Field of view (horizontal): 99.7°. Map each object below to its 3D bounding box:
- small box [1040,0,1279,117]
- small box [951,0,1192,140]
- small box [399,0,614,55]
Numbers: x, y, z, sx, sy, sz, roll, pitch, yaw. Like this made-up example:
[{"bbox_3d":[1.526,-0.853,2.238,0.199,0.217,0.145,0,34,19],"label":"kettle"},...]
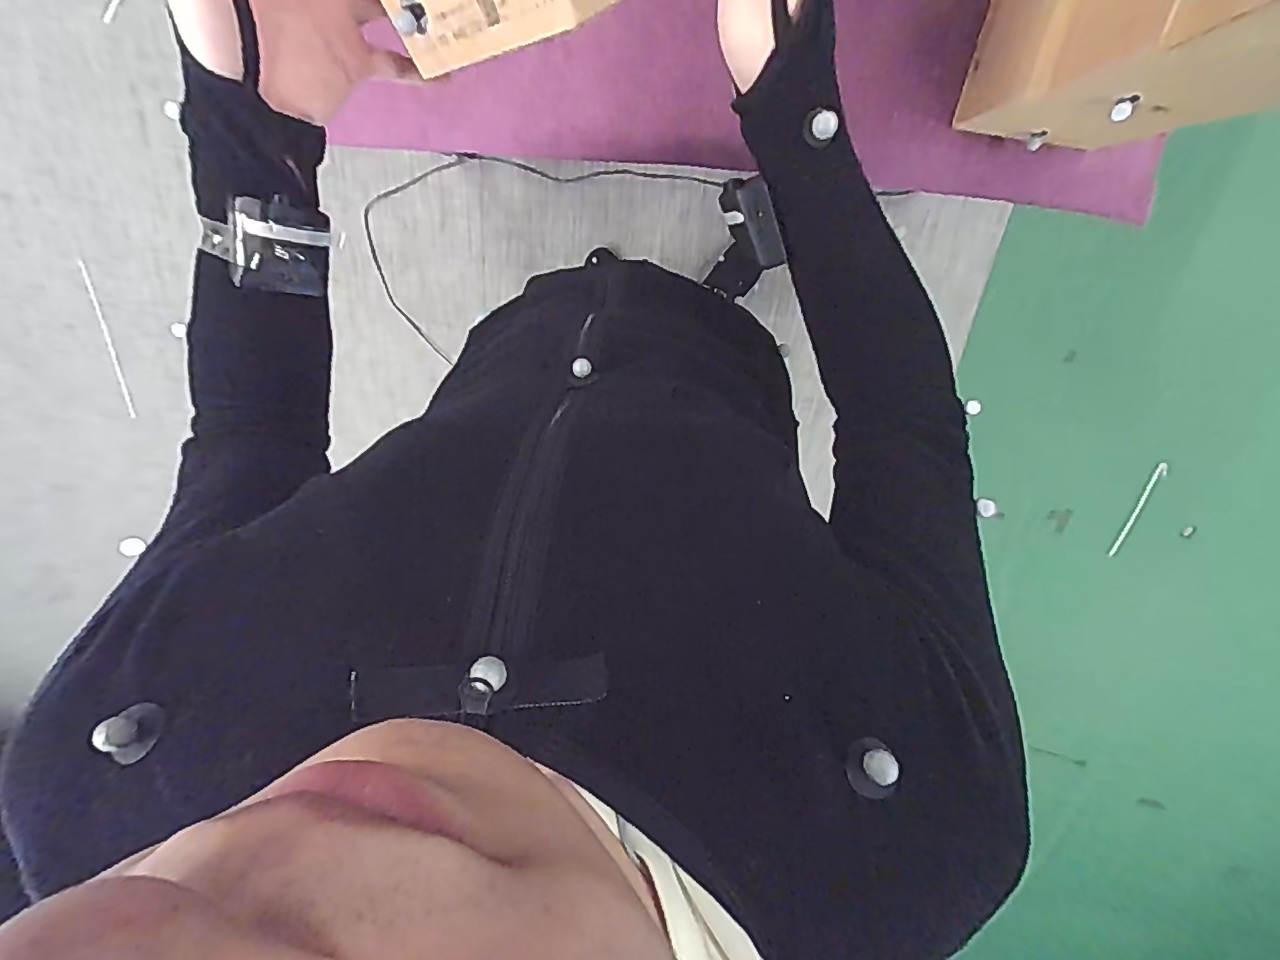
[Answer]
[{"bbox_3d":[0.461,-0.409,0.416,0.168,0.176,0.179,10,115,2],"label":"small box"},{"bbox_3d":[0.472,-0.472,0.567,0.179,0.176,0.168,10,114,1],"label":"small box"},{"bbox_3d":[-0.062,-0.359,0.286,0.168,0.179,0.176,23,153,39],"label":"small box"}]
